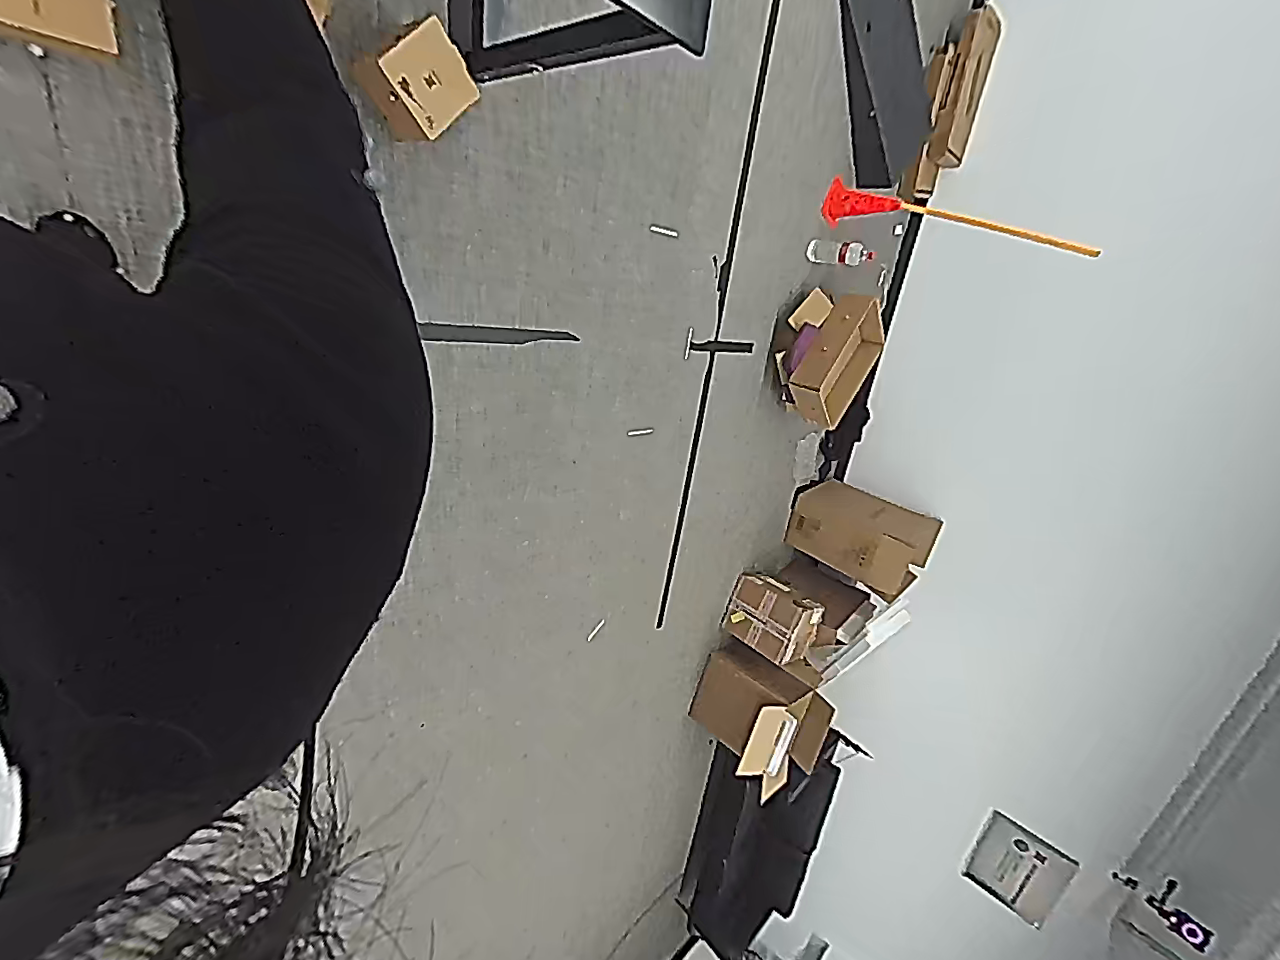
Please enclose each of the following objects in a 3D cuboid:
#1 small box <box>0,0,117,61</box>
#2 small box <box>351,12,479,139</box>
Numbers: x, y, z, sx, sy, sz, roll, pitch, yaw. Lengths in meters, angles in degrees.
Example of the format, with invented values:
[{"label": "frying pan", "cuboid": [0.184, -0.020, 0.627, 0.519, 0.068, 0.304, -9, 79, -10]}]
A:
[{"label": "small box", "cuboid": [-0.927, -0.768, 0.813, 0.168, 0.176, 0.179, -14, 122, -45]}, {"label": "small box", "cuboid": [-0.510, -0.904, 1.221, 0.179, 0.176, 0.168, -53, 141, -13]}]
